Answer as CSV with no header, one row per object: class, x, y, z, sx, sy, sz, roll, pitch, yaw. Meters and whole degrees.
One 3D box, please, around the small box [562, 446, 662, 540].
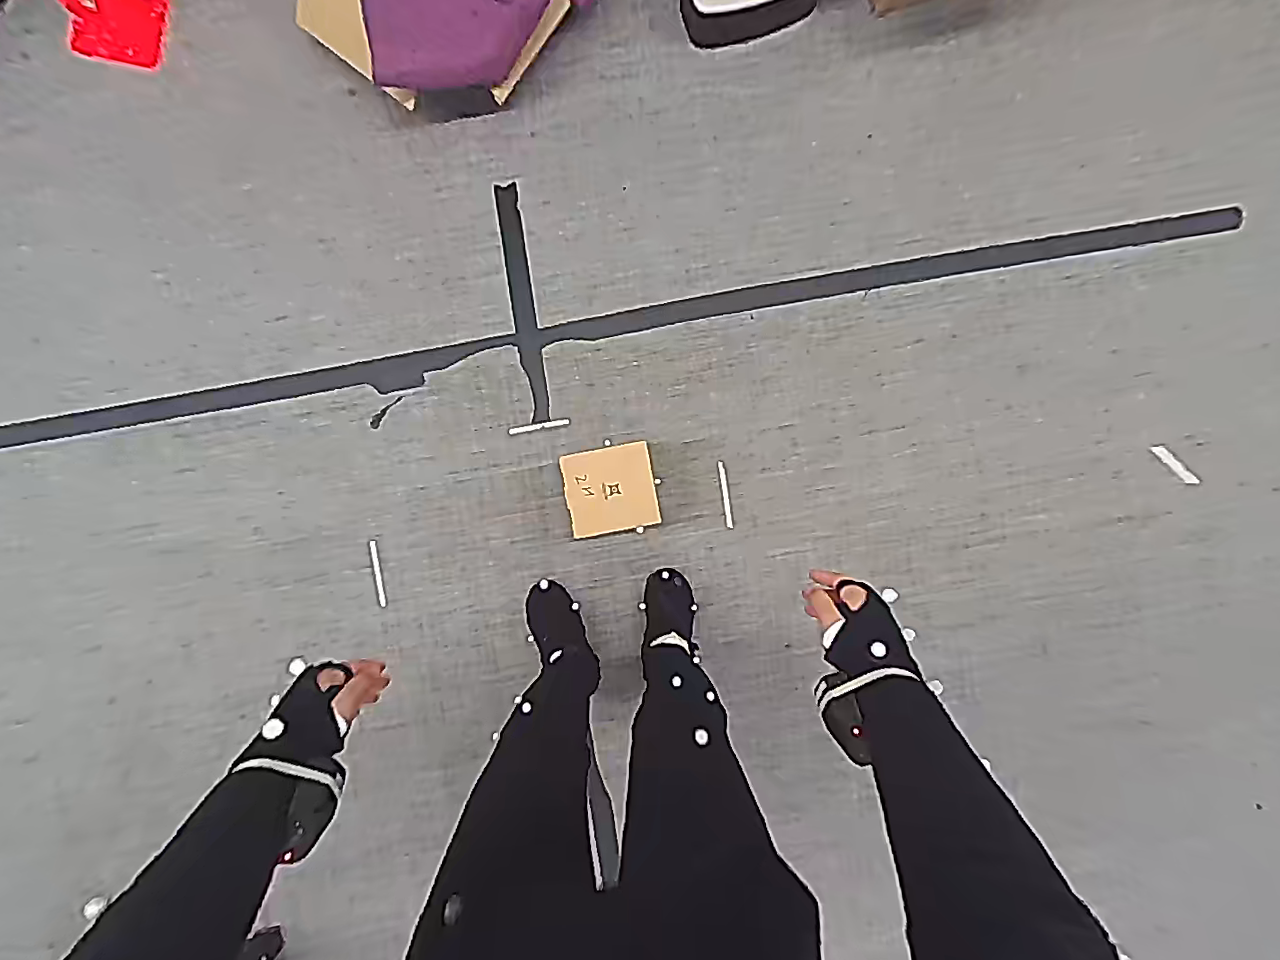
small box,-0.057,0.020,1.132,0.179,0.176,0.168,-10,92,0
